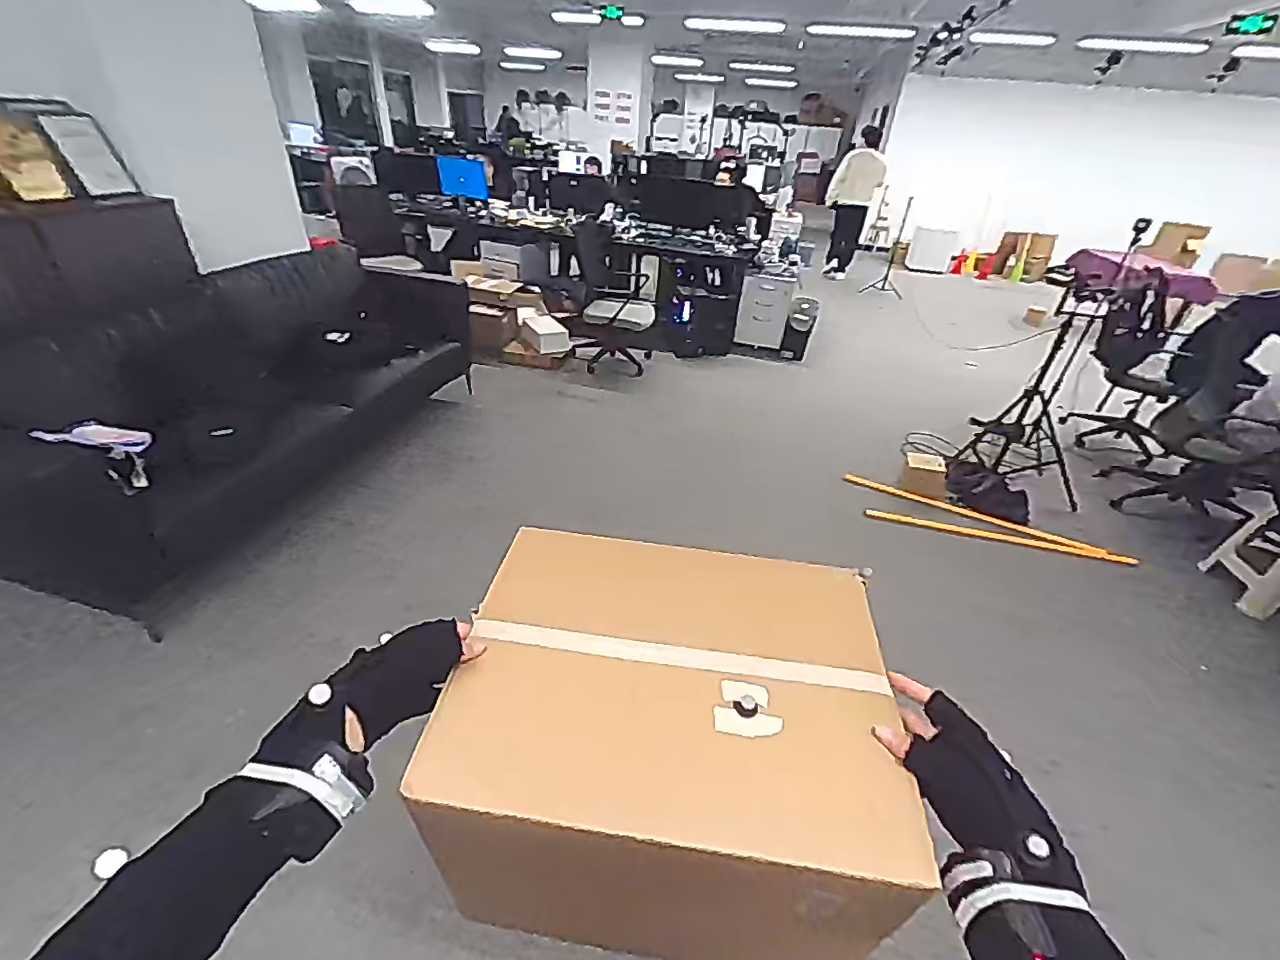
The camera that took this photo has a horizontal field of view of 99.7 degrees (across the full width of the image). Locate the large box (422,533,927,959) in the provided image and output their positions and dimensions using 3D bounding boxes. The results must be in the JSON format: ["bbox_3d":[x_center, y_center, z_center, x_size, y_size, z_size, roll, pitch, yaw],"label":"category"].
[{"bbox_3d":[0.028,0.294,0.622,0.408,0.320,0.320,7,37,4],"label":"large box"}]
